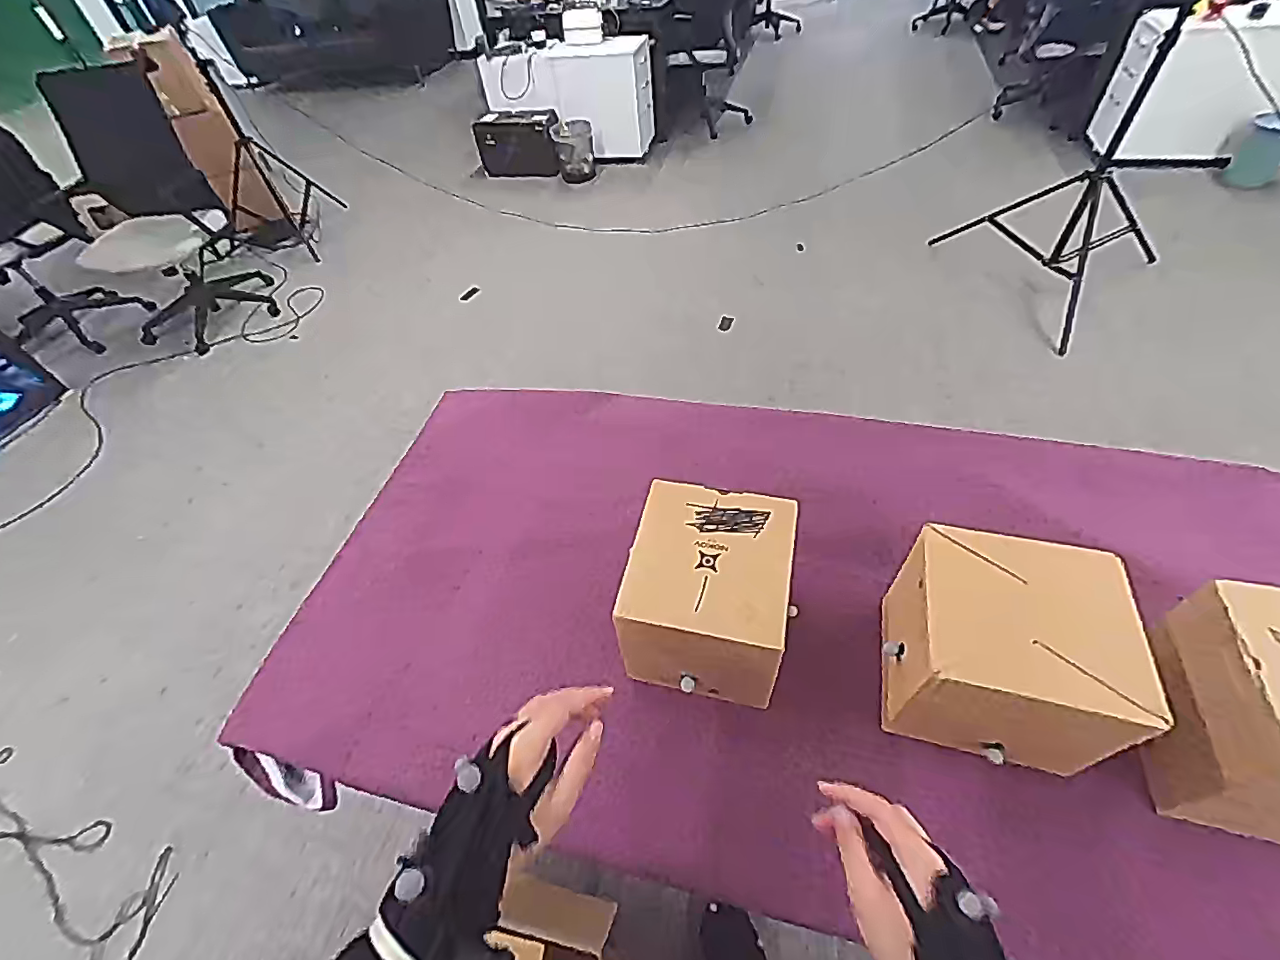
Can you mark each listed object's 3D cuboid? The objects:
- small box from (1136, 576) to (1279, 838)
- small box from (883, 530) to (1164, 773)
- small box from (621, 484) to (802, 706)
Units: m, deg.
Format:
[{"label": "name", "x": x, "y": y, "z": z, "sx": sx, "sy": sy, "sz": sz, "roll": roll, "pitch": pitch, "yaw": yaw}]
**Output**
[{"label": "small box", "x": 0.596, "y": 0.215, "z": 0.490, "sx": 0.179, "sy": 0.176, "sz": 0.168, "roll": 9, "pitch": 49, "yaw": 14}, {"label": "small box", "x": 0.364, "y": 0.170, "z": 0.556, "sx": 0.179, "sy": 0.176, "sz": 0.168, "roll": 9, "pitch": 50, "yaw": 15}, {"label": "small box", "x": 0.086, "y": 0.133, "z": 0.626, "sx": 0.168, "sy": 0.176, "sz": 0.179, "roll": 8, "pitch": 51, "yaw": 13}]
